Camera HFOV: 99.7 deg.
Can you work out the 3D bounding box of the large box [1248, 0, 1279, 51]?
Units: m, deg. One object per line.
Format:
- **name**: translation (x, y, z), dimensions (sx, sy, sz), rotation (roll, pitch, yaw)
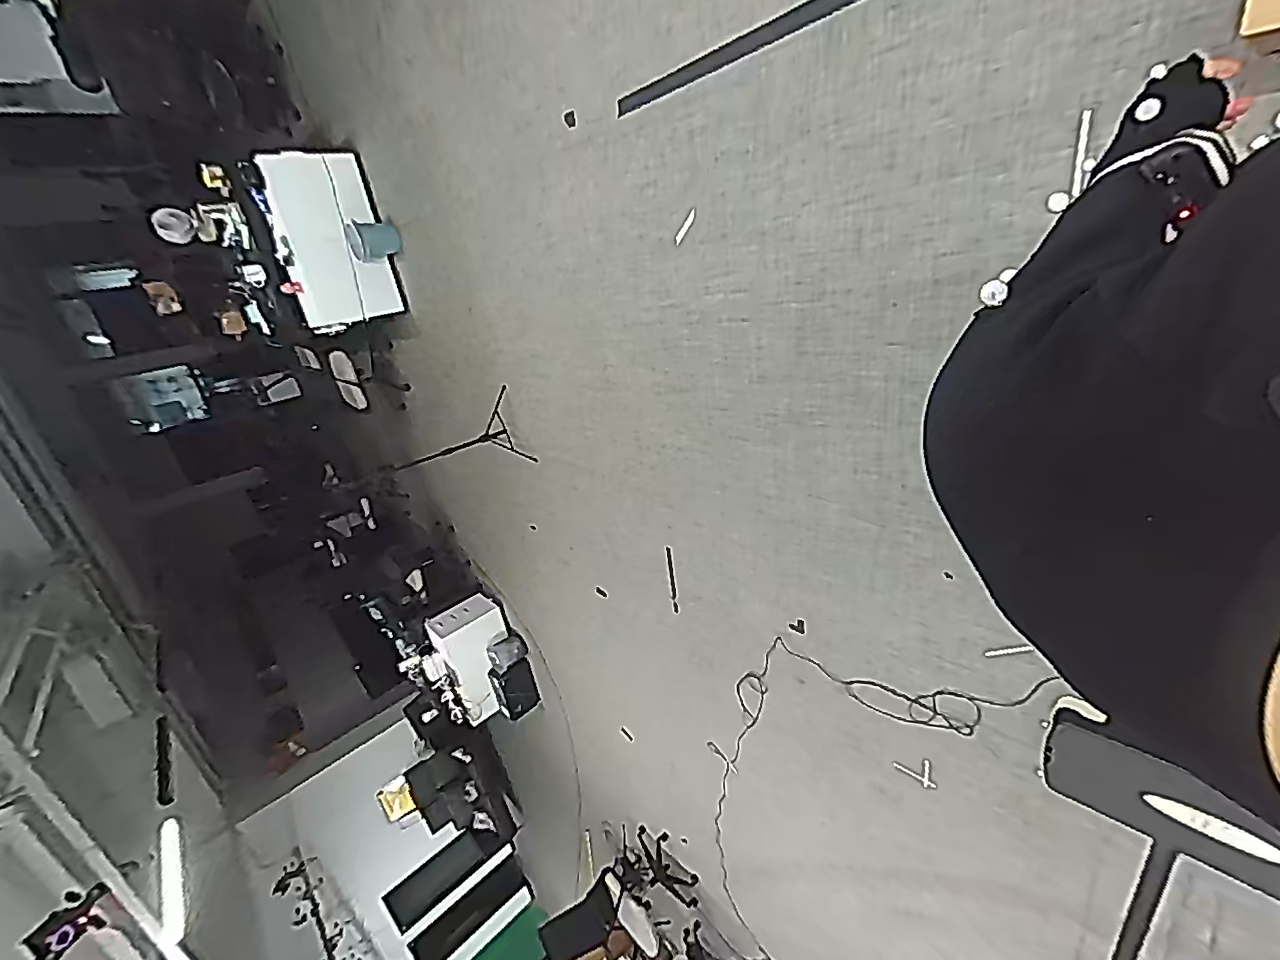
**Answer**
- **large box**: translation (1.009, -0.747, 0.598), dimensions (0.408, 0.320, 0.320), rotation (15, 124, 45)
